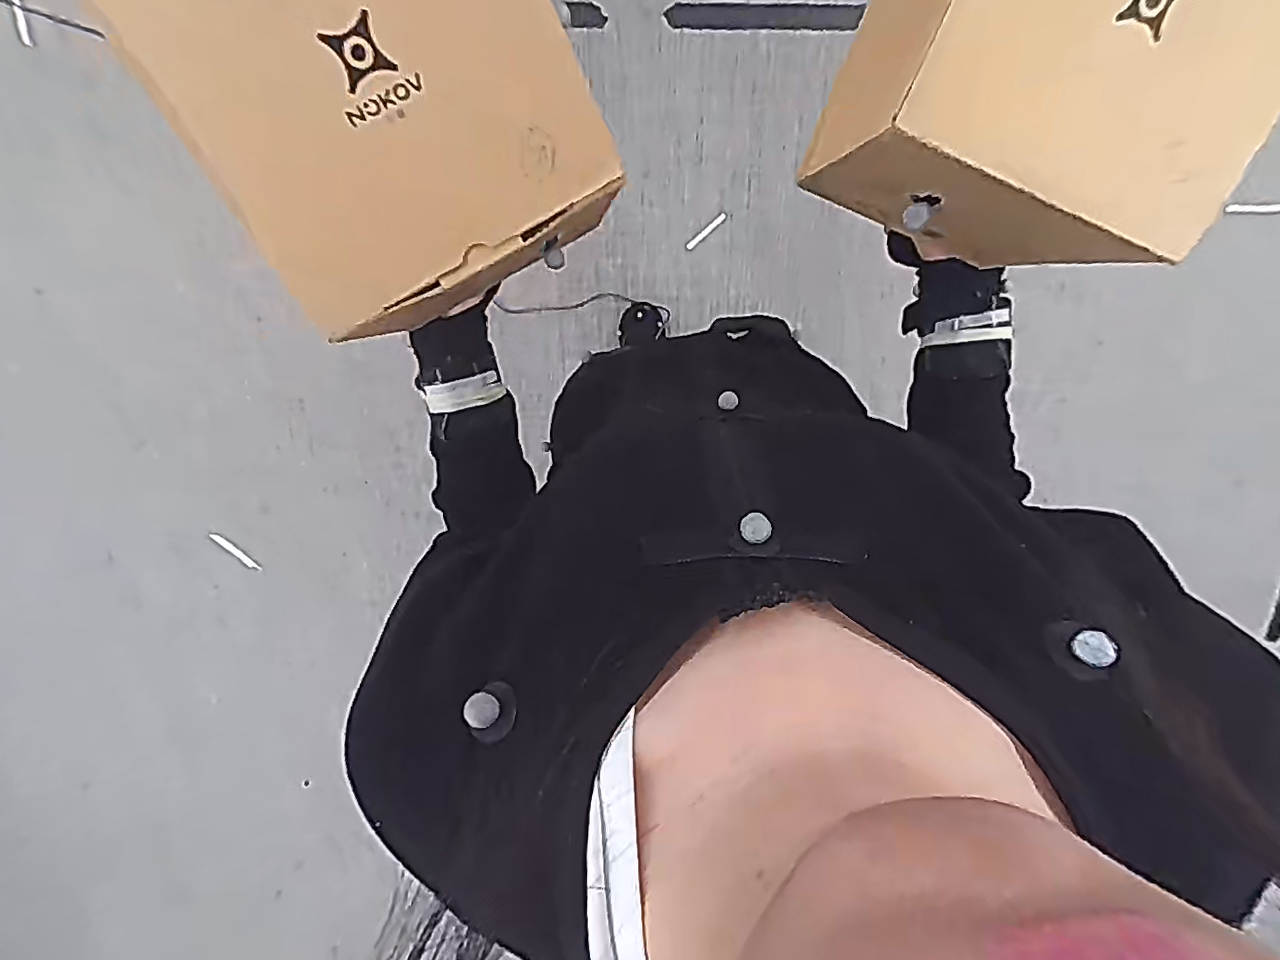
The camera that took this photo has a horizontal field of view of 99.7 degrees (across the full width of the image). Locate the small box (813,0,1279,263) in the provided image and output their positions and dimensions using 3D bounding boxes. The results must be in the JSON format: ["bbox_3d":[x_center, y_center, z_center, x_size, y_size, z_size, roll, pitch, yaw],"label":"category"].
[{"bbox_3d":[0.220,-0.238,0.307,0.168,0.176,0.179,20,108,-7],"label":"small box"}]

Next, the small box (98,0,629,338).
[{"bbox_3d":[-0.125,-0.200,0.303,0.168,0.176,0.179,-30,109,-1],"label":"small box"}]
